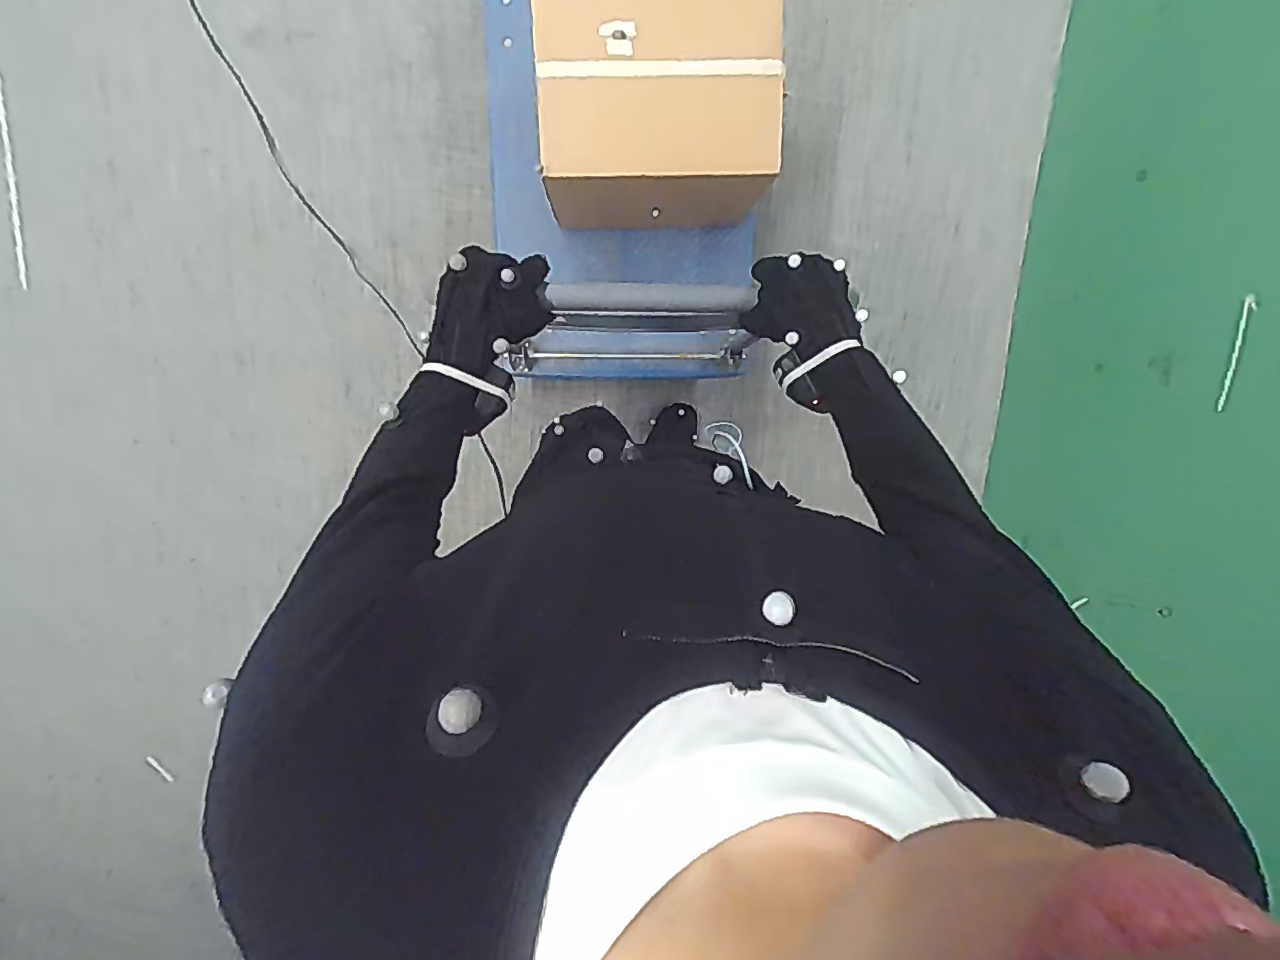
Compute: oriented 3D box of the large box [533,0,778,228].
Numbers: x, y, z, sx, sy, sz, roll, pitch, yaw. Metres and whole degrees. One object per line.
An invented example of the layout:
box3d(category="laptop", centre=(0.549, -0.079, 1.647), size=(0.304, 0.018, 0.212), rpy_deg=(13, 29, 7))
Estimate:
box3d(category="large box", centre=(0.029, -0.692, 1.040), size=(0.408, 0.320, 0.320), rpy_deg=(-2, 99, -1))
